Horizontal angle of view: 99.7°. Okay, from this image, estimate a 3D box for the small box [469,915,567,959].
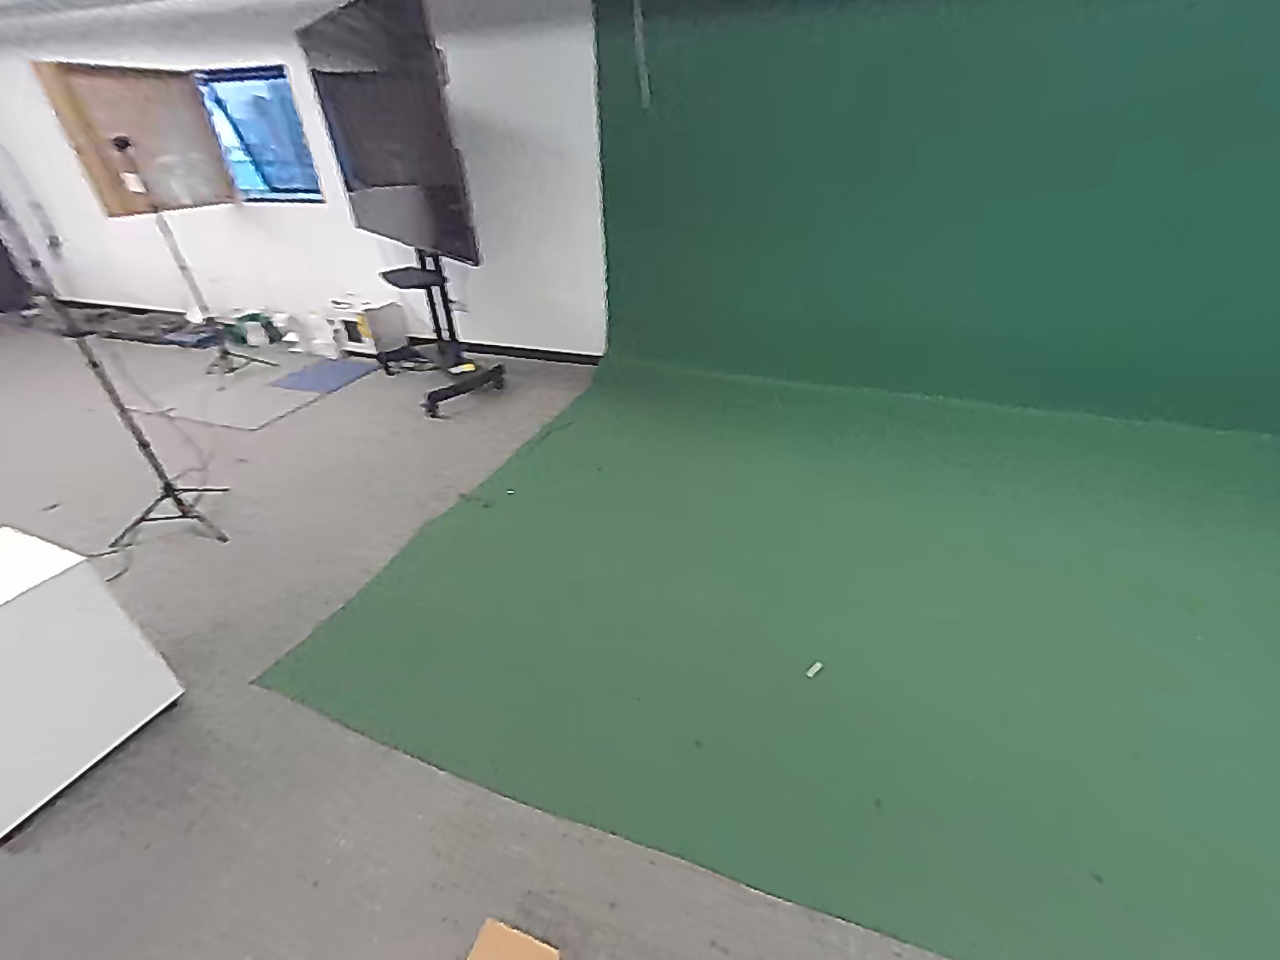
[{"bbox_3d":[-0.257,1.035,1.086,0.179,0.176,0.168,11,35,17],"label":"small box"}]
